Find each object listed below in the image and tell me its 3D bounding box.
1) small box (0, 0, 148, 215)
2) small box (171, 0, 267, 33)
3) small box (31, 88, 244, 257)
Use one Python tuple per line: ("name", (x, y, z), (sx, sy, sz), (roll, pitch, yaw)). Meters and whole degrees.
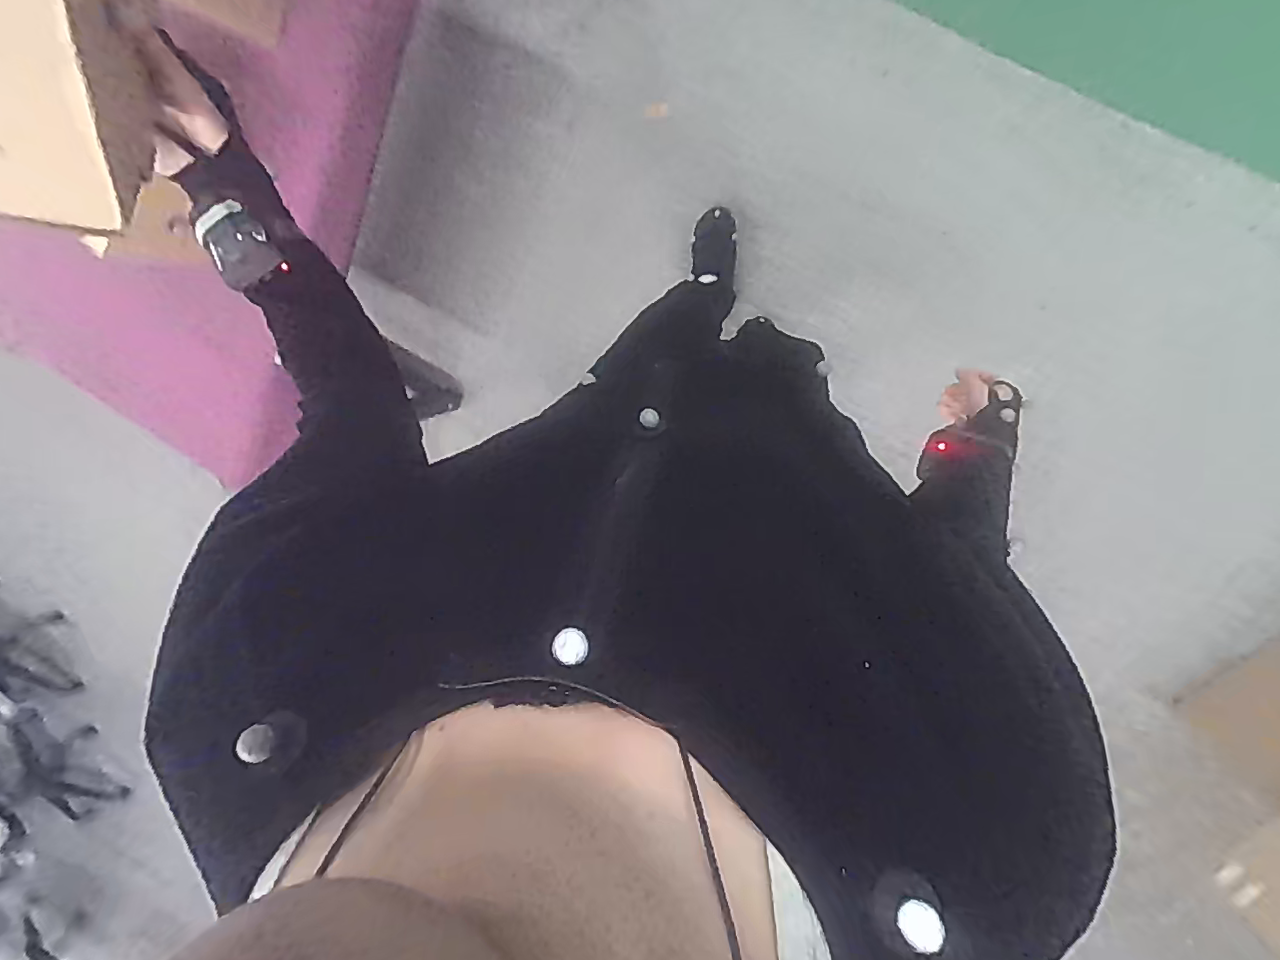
("small box", (-0.366, -0.262, 0.248), (0.176, 0.179, 0.168), (-54, 49, 45))
("small box", (-0.556, -0.658, 0.610), (0.179, 0.176, 0.168), (26, 111, 4))
("small box", (-0.681, -0.418, 0.716), (0.179, 0.176, 0.168), (42, 112, -1))
